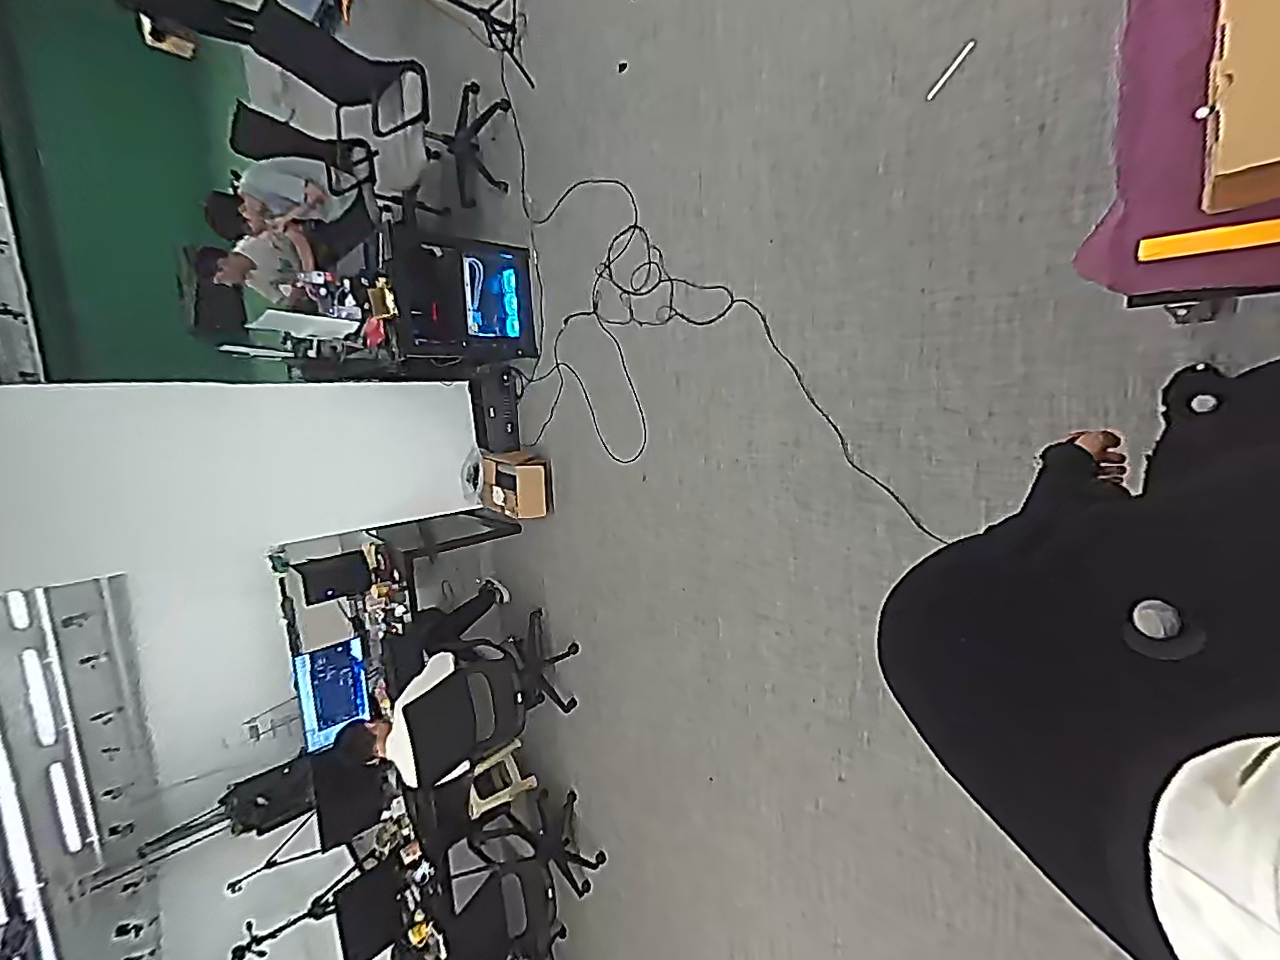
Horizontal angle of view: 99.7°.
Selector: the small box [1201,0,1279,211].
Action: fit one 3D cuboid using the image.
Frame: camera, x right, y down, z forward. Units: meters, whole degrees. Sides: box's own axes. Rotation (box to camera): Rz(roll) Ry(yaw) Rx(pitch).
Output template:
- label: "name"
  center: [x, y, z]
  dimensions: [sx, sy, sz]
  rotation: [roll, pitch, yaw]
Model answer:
- label: "small box"
  center: [0.645, -0.368, 0.494]
  dimensions: [0.179, 0.176, 0.168]
  rotation: [3, 100, 46]
